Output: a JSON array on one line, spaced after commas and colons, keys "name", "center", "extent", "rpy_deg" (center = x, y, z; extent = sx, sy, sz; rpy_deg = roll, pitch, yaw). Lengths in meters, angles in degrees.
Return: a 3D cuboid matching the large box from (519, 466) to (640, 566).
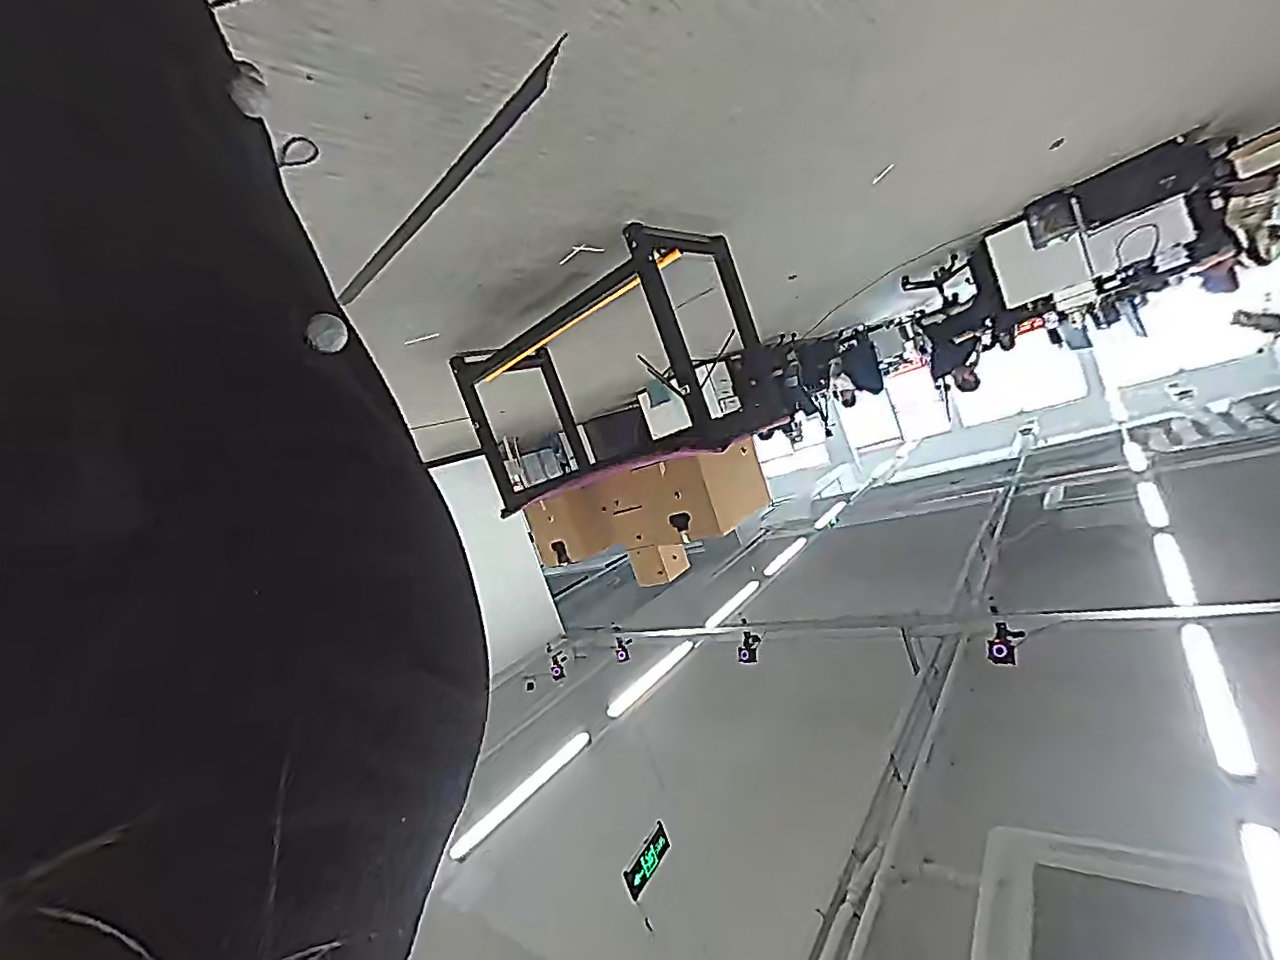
[{"name": "large box", "center": [-0.279, 0.163, 2.518], "extent": [0.320, 0.320, 0.408], "rpy_deg": [-16, -174, 41]}]
